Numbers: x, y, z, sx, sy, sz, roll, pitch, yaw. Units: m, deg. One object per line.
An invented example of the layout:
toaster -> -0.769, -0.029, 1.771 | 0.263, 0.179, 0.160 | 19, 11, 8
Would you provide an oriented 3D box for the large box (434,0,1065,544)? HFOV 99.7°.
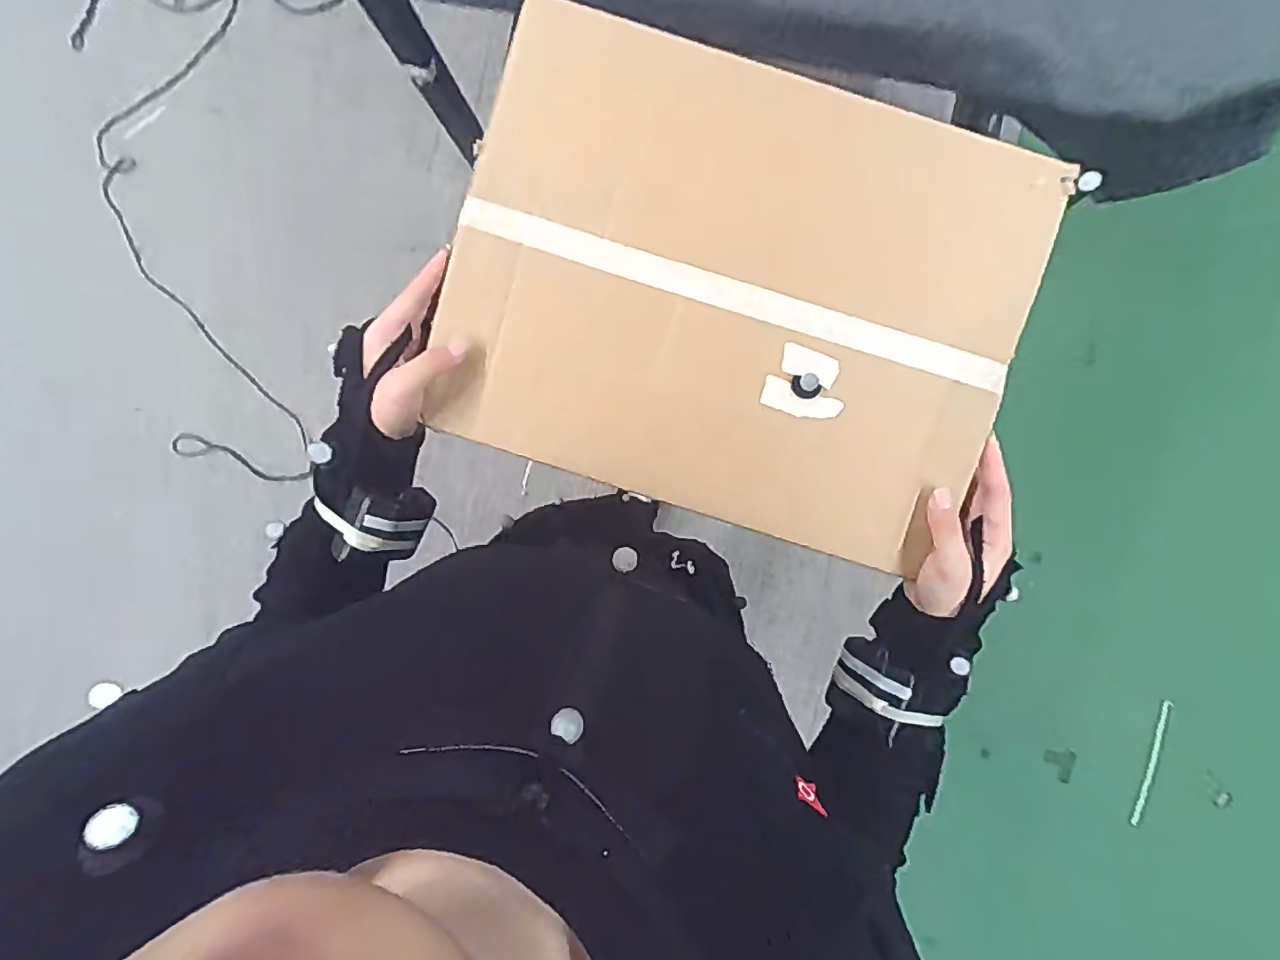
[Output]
large box -> 0.074, -0.160, 0.543 | 0.408, 0.320, 0.320 | 17, 95, -2
